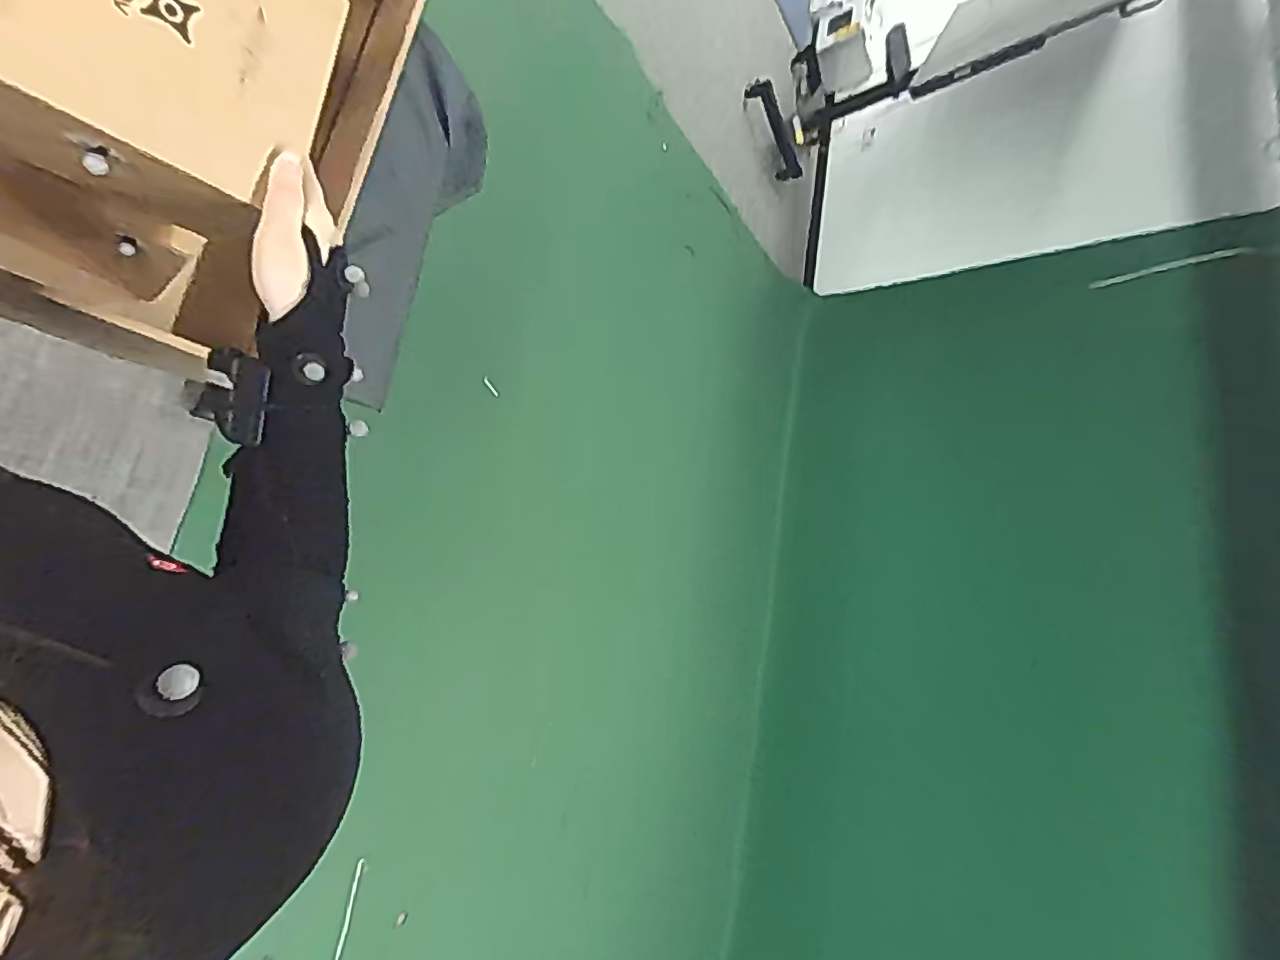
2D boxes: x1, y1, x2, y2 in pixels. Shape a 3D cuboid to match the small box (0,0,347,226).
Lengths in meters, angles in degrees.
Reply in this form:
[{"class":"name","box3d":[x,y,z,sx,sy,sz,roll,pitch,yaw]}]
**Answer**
[{"class":"small box","box3d":[-0.336,-0.286,0.354,0.179,0.176,0.168,15,90,-55]}]
